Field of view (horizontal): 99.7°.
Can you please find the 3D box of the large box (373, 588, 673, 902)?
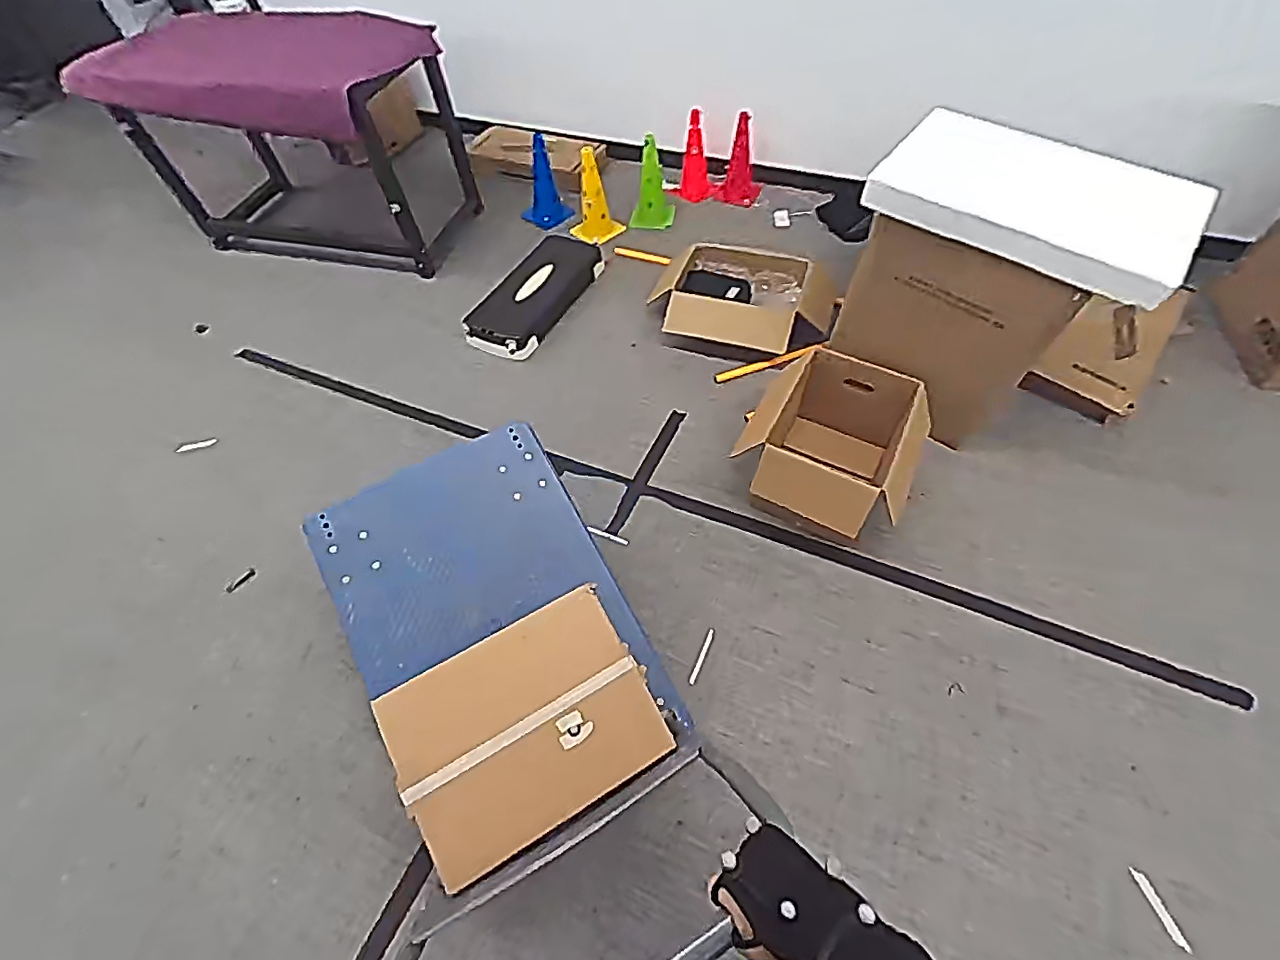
[{"bbox_3d":[-0.203,0.460,1.020,0.408,0.320,0.320,-28,76,-15],"label":"large box"}]
